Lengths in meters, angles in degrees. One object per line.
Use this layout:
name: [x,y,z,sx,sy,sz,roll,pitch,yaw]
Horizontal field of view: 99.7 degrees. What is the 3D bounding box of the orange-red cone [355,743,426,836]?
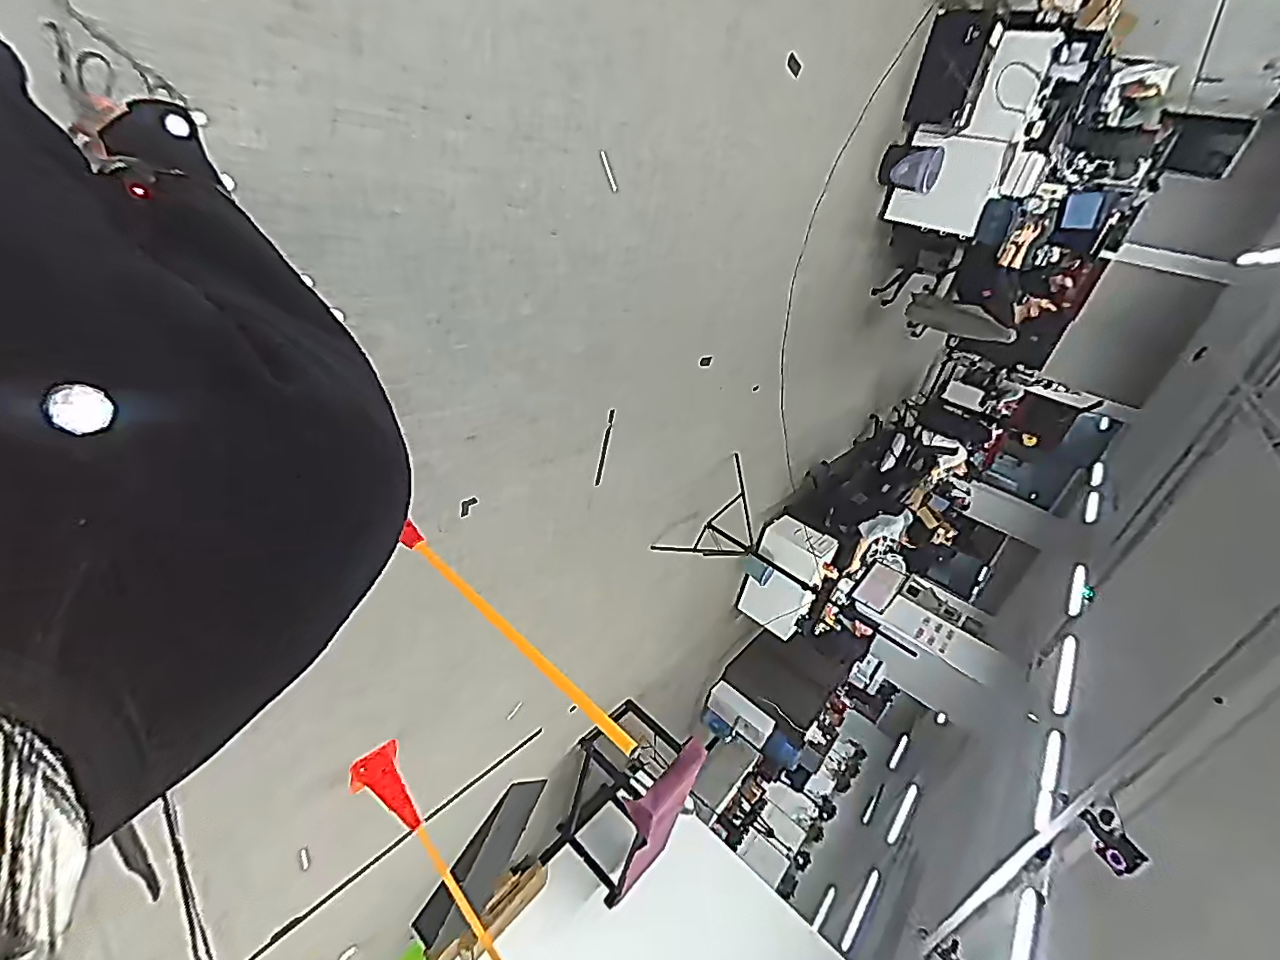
orange-red cone: [-0.987,1.306,2.216,0.198,0.360,0.199,-19,132,-48]
